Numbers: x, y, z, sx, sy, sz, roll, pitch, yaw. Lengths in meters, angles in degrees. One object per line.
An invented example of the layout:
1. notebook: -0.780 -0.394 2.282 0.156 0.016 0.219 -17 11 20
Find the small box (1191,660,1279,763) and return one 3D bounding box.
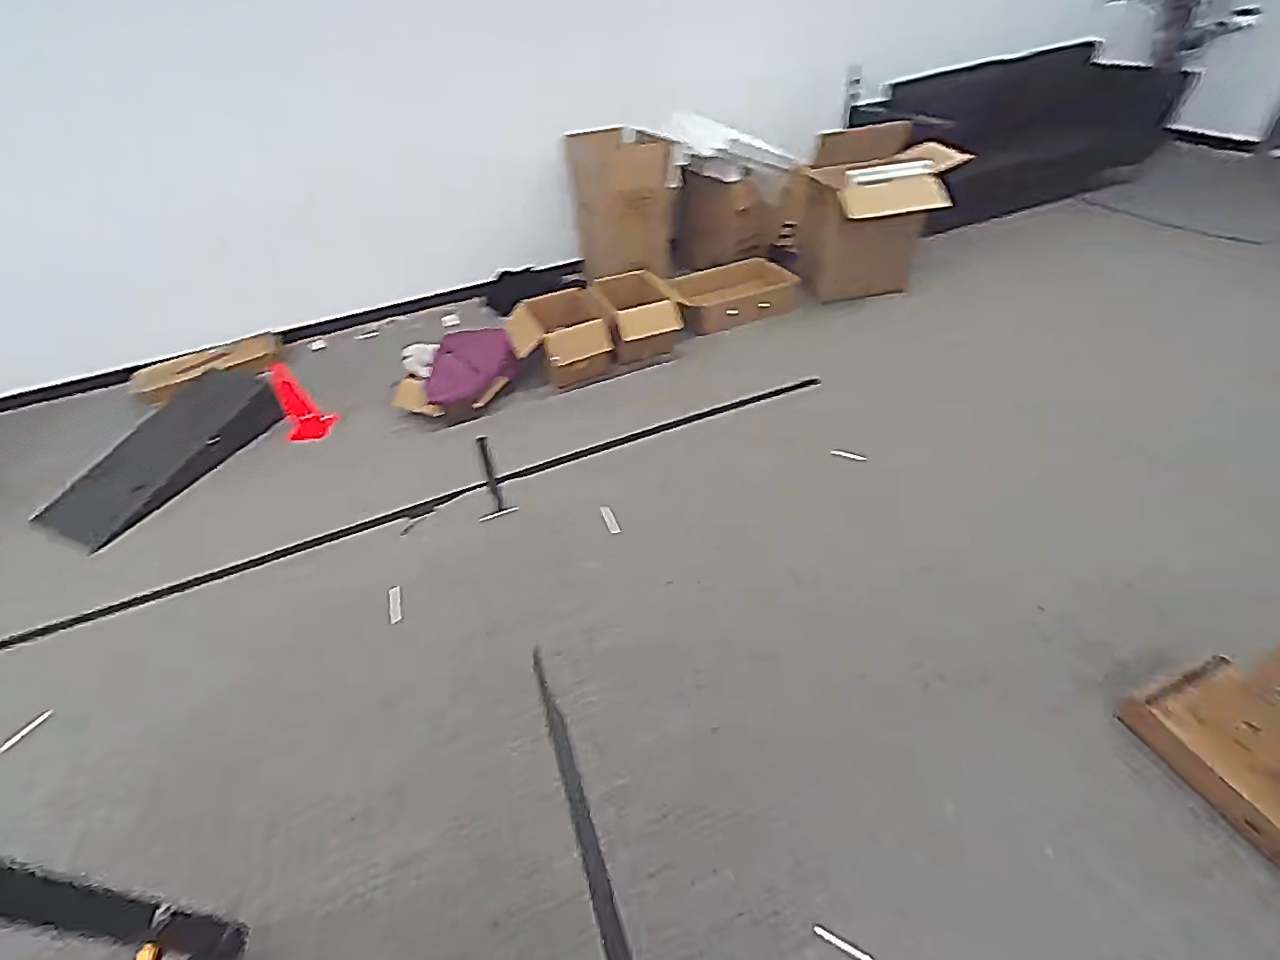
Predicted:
1. small box: 1.422 0.506 1.223 0.179 0.176 0.168 -19 45 -12

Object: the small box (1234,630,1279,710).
1. small box: 1.407 0.386 1.112 0.179 0.176 0.168 -23 46 -16
